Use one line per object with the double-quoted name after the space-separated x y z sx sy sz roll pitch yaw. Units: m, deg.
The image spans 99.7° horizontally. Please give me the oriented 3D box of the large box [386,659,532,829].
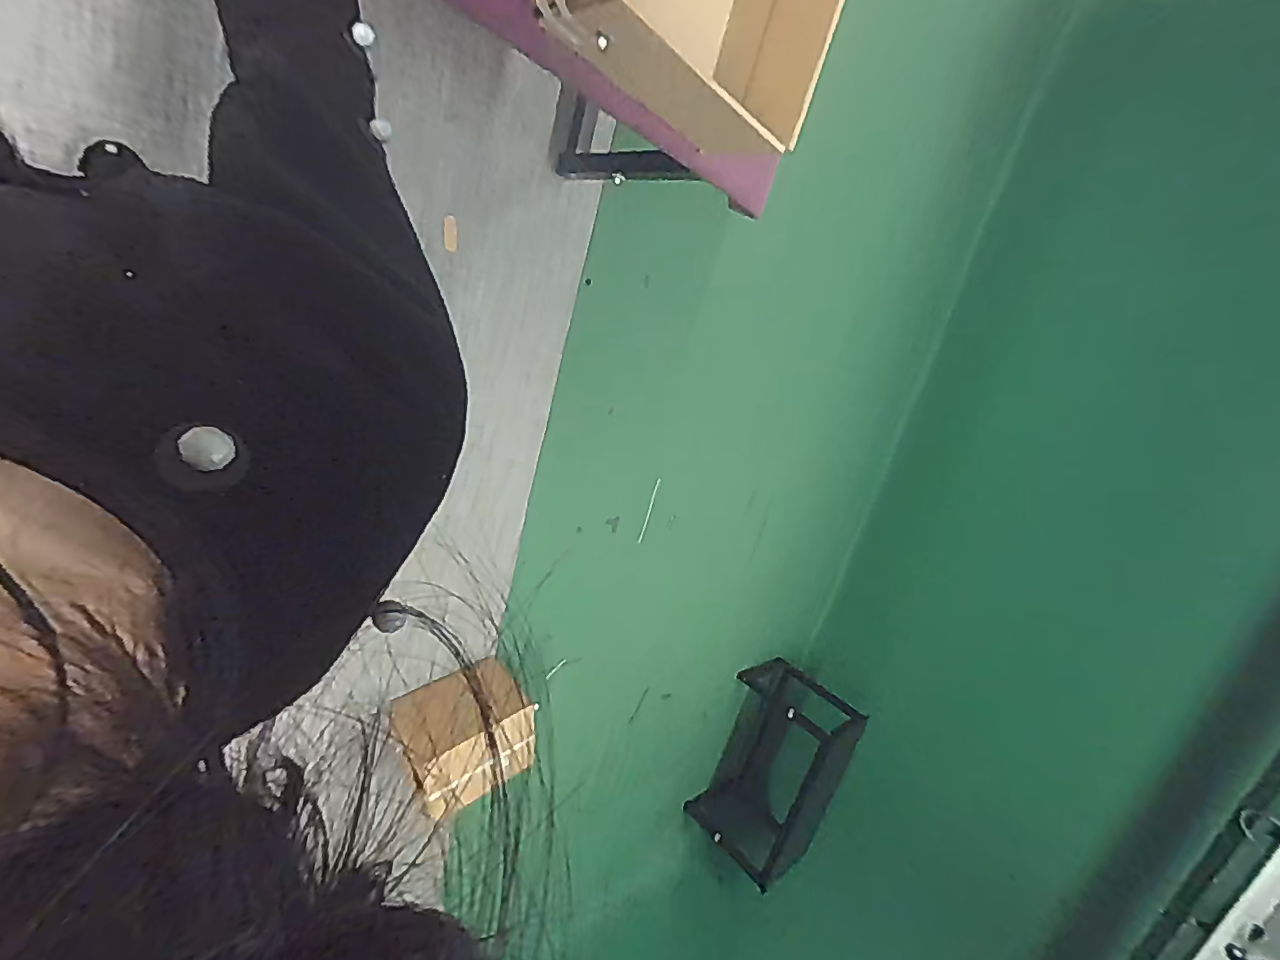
-0.645 0.927 1.953 0.408 0.320 0.320 -17 123 -40 "large box"
